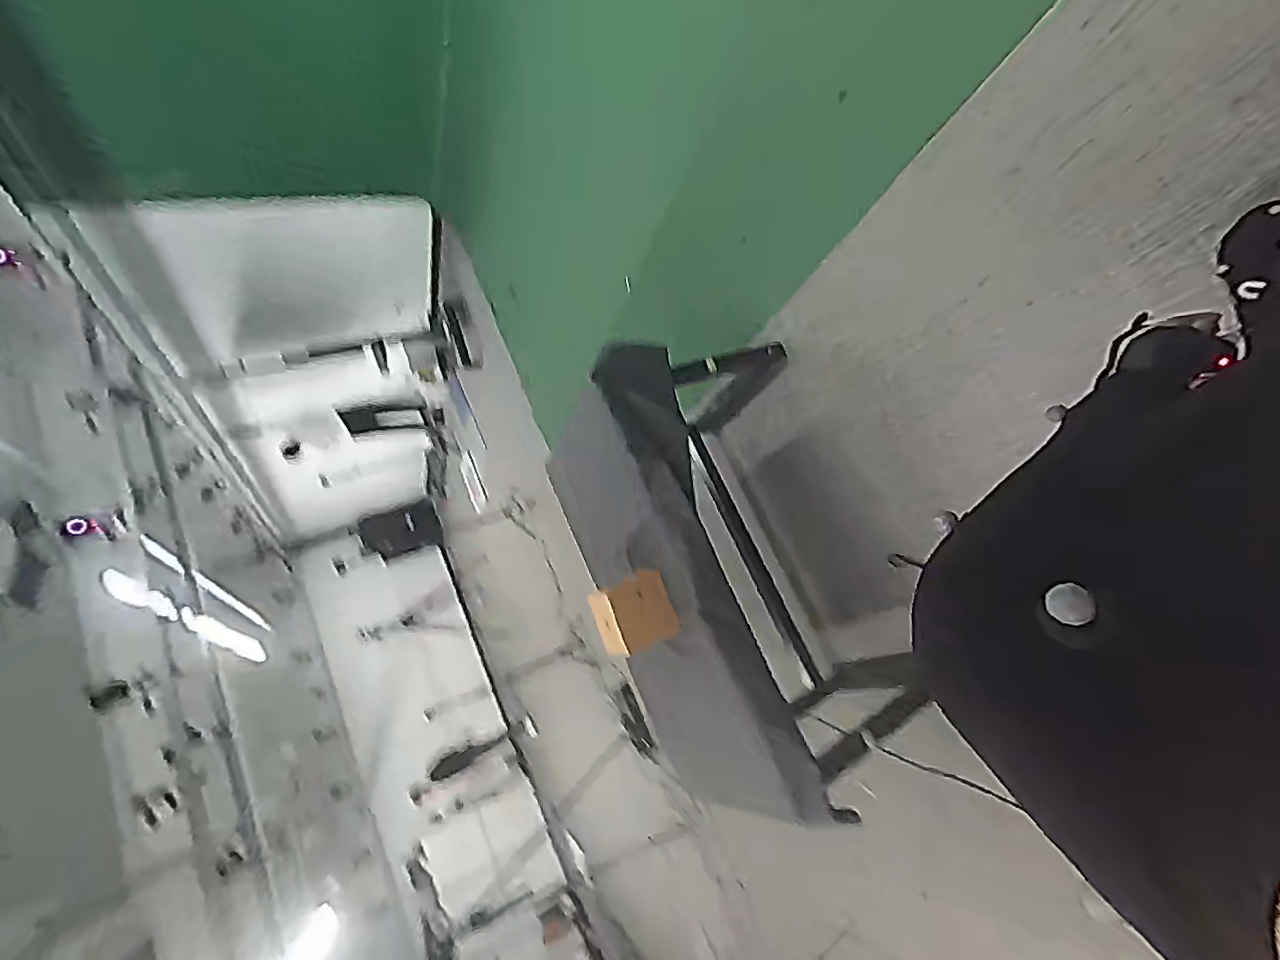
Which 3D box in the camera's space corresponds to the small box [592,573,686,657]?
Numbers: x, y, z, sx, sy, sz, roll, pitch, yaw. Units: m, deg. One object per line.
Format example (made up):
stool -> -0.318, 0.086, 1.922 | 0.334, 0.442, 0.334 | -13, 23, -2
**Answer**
small box -> -0.004, 0.365, 1.482 | 0.168, 0.176, 0.179 | -33, 78, 63
